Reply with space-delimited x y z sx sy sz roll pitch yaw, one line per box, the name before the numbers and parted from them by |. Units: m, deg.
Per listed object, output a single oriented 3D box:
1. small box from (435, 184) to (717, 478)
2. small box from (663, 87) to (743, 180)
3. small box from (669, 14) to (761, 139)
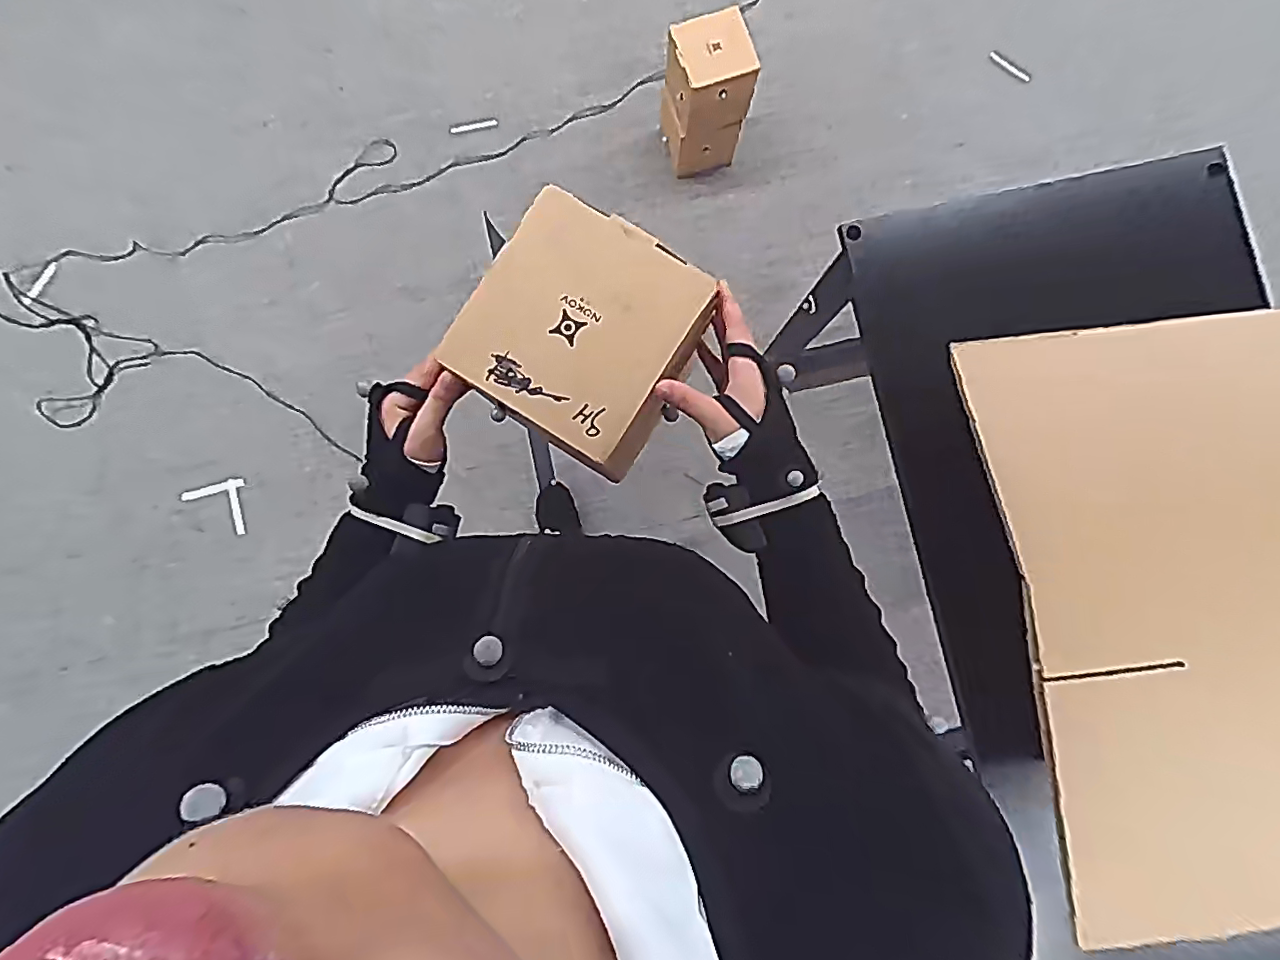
small box | -0.049 -0.121 0.509 0.168 0.176 0.179 32 85 6
small box | 0.171 -0.983 1.518 0.179 0.176 0.168 -16 85 -1
small box | 0.178 -1.000 1.356 0.179 0.176 0.168 -19 87 -3
